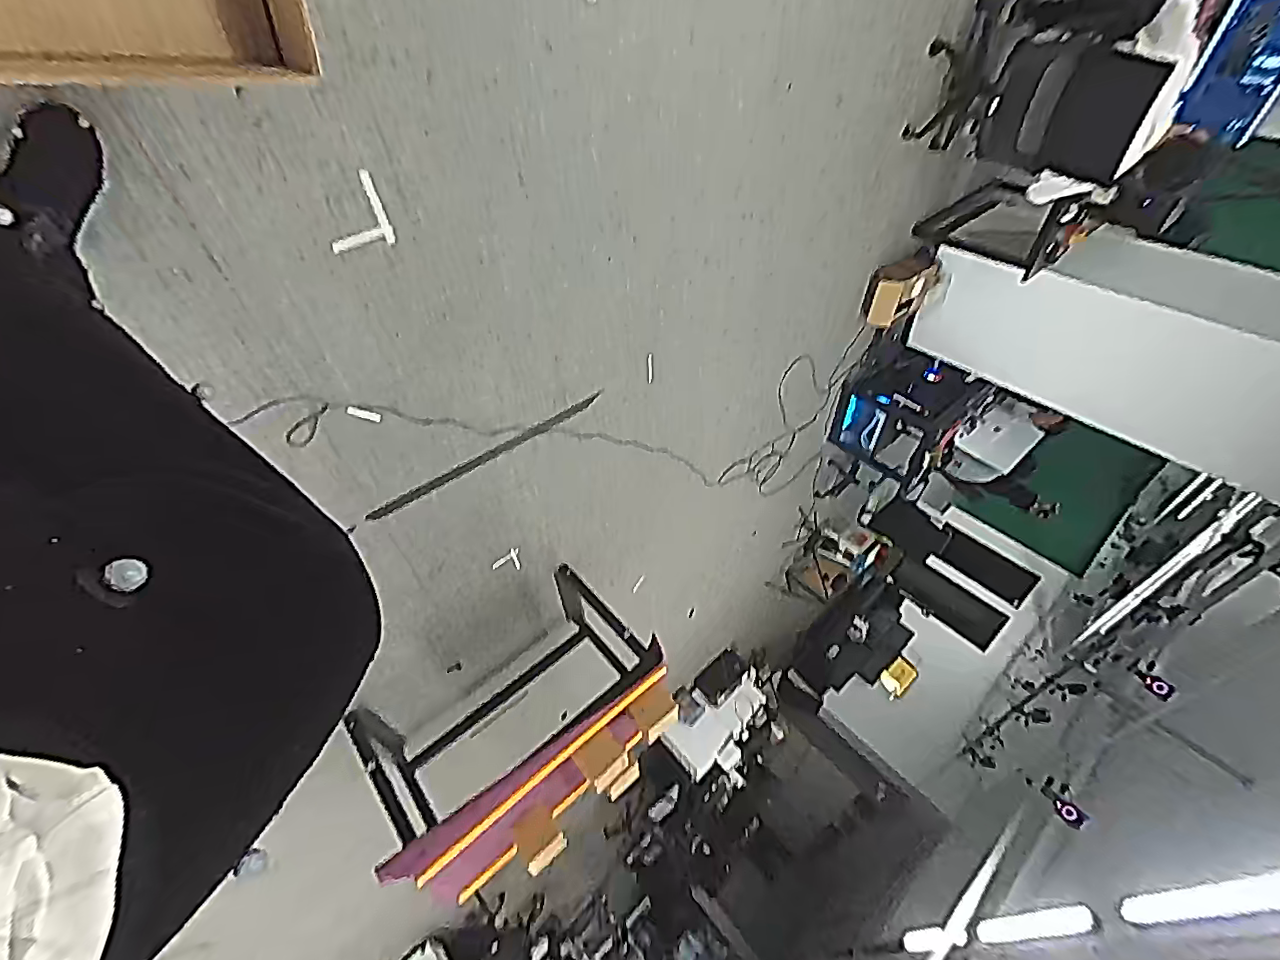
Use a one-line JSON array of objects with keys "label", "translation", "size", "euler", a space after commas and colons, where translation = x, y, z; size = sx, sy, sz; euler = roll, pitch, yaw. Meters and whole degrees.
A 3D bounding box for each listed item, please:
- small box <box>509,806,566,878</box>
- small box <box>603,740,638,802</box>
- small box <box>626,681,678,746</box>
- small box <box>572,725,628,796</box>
[{"label": "small box", "translation": [-0.443, 1.548, 2.314], "size": [0.179, 0.176, 0.168], "euler": [-34, 142, -27]}, {"label": "small box", "translation": [-0.124, 1.342, 2.500], "size": [0.168, 0.176, 0.179], "euler": [-33, 141, -27]}, {"label": "small box", "translation": [0.049, 1.040, 2.416], "size": [0.179, 0.176, 0.168], "euler": [-32, 143, -24]}, {"label": "small box", "translation": [-0.174, 1.183, 2.285], "size": [0.179, 0.176, 0.168], "euler": [-33, 143, -25]}]
